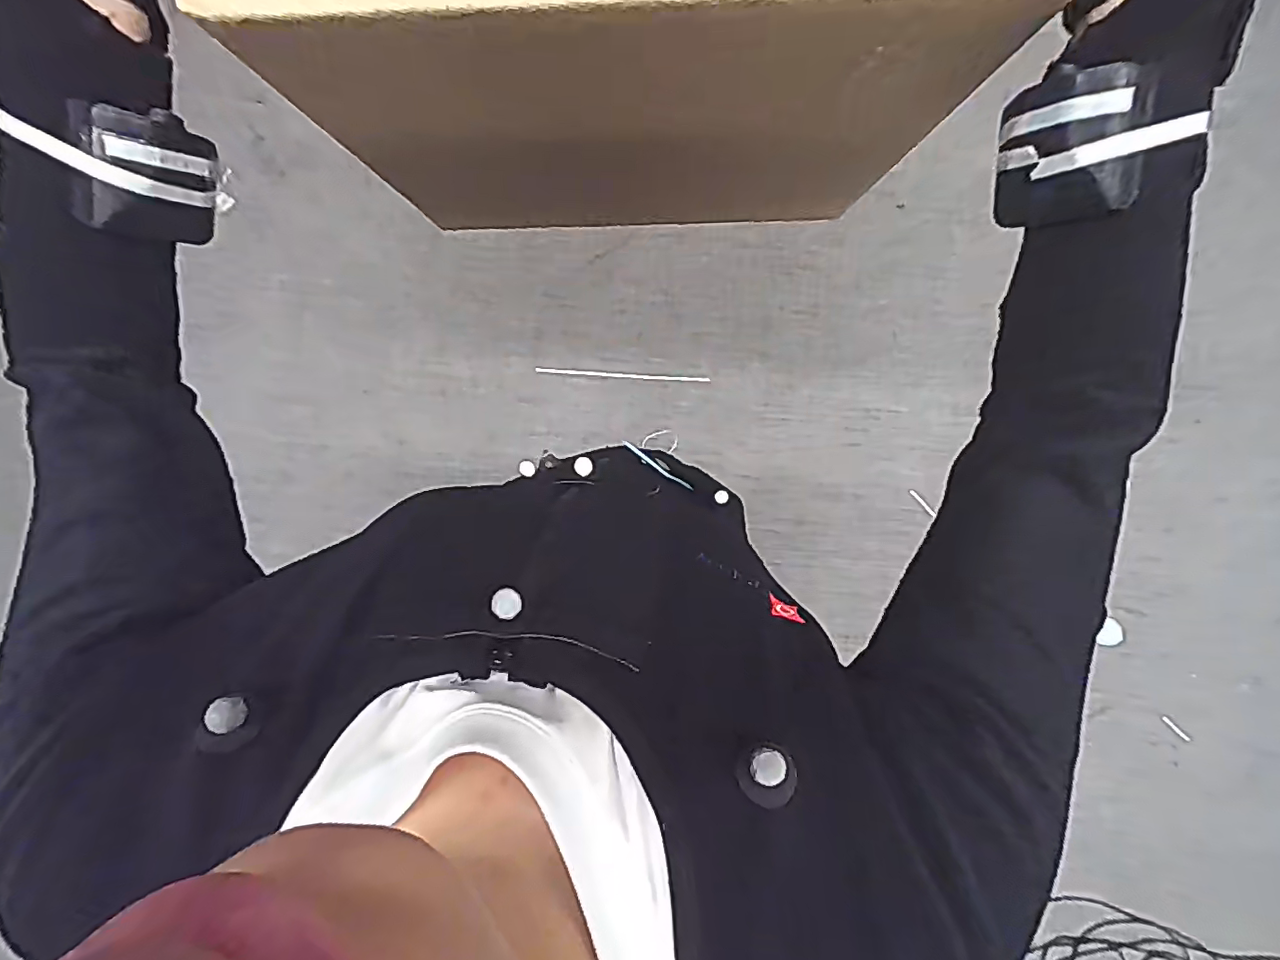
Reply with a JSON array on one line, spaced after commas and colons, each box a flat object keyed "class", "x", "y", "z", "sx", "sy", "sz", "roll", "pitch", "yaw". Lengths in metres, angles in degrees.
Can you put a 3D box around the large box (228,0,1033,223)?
[{"class": "large box", "x": -0.005, "y": -0.394, "z": 0.374, "sx": 0.408, "sy": 0.320, "sz": 0.320, "roll": -2, "pitch": 98, "yaw": 0}]
